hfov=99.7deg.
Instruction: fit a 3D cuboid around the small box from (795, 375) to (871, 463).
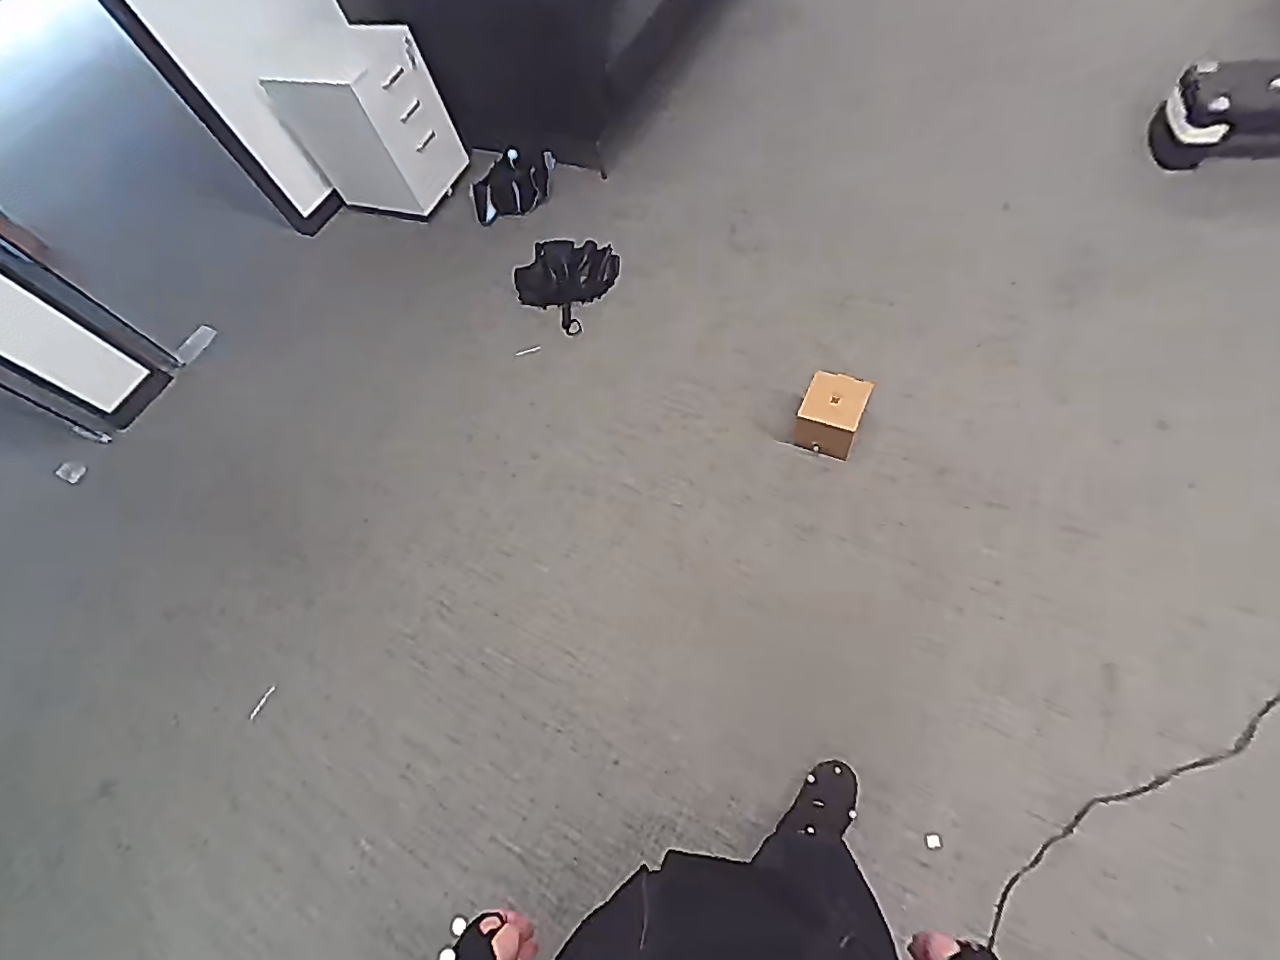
[{"bbox_3d":[0.567,-0.179,1.607,0.168,0.176,0.179,19,69,22],"label":"small box"}]
